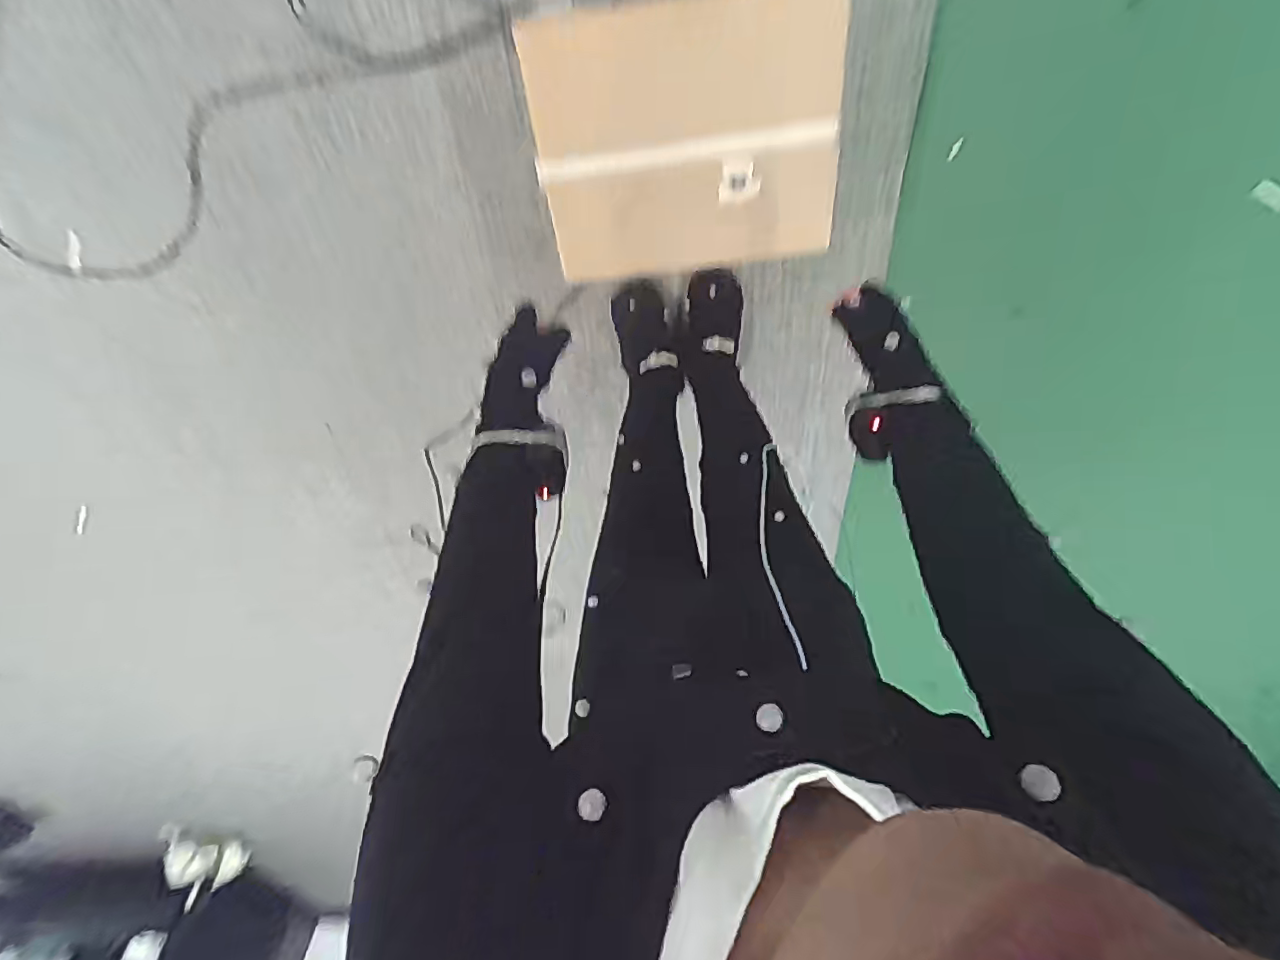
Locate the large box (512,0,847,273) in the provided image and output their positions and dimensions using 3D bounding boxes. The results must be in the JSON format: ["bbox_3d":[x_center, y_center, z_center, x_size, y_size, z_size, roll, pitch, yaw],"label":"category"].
[{"bbox_3d":[0.058,-0.549,0.835,0.408,0.320,0.320,-7,129,3],"label":"large box"}]
